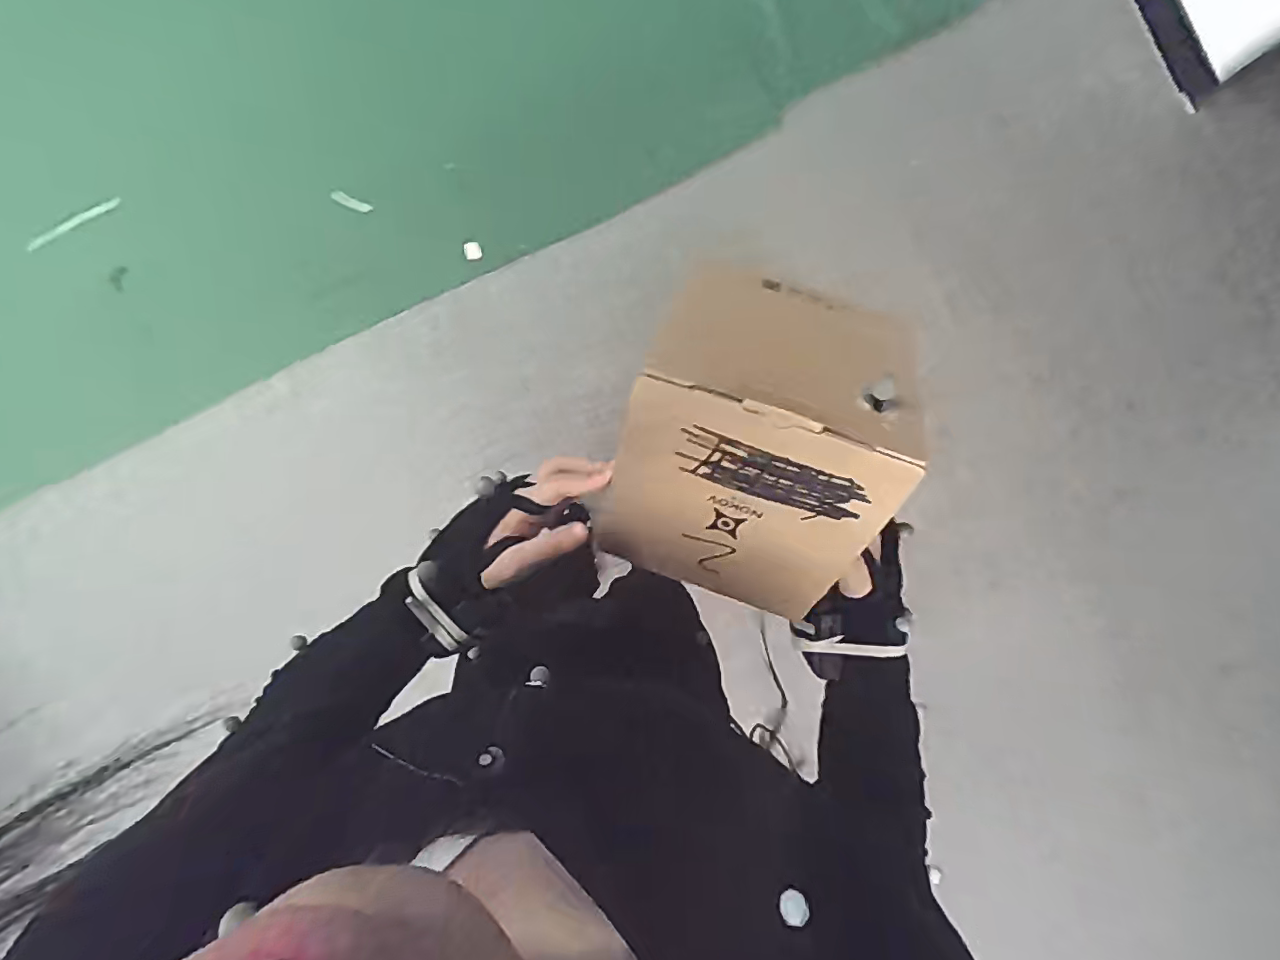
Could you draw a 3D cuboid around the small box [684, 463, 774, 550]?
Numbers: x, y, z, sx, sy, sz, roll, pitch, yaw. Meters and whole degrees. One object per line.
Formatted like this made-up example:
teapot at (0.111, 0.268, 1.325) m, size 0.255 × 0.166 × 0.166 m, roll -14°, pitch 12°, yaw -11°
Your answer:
small box at (0.223, 0.064, 1.395) m, size 0.179 × 0.176 × 0.168 m, roll -23°, pitch 91°, yaw 4°
